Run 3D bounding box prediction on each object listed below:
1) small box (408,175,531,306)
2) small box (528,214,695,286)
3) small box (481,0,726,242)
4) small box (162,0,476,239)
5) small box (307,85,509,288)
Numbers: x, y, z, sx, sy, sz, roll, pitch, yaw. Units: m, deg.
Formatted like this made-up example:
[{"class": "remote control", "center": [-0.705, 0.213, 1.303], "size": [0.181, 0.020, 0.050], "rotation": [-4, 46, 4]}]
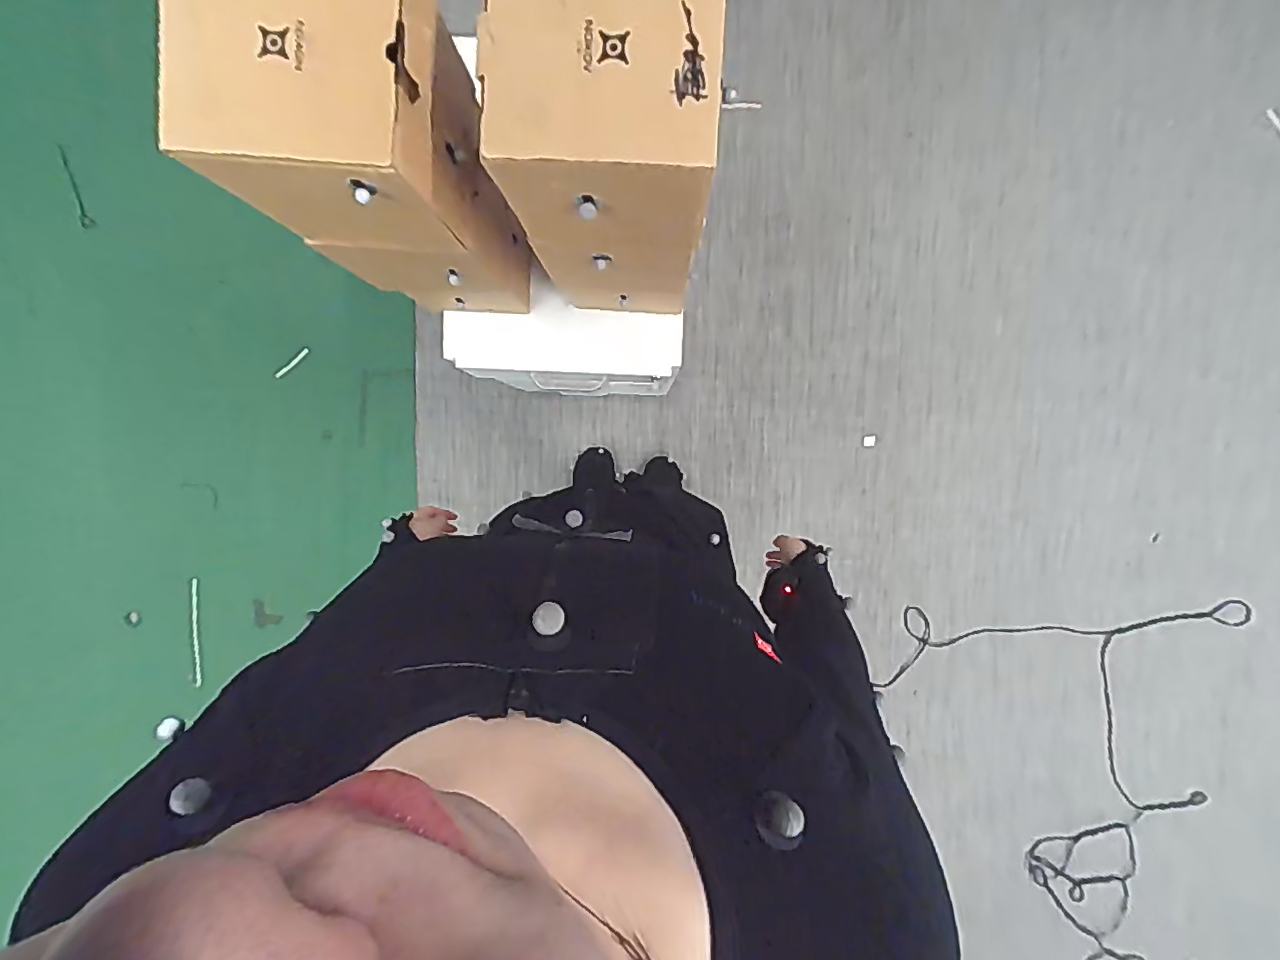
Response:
[{"class": "small box", "center": [-0.256, -0.362, 0.794], "size": [0.168, 0.176, 0.179], "rotation": [2, 95, -2]}, {"class": "small box", "center": [-0.021, -0.334, 0.630], "size": [0.179, 0.176, 0.168], "rotation": [4, 95, 1]}, {"class": "small box", "center": [-0.022, -0.319, 0.467], "size": [0.179, 0.176, 0.168], "rotation": [3, 95, 3]}, {"class": "small box", "center": [-0.257, -0.326, 0.471], "size": [0.179, 0.176, 0.168], "rotation": [4, 94, -1]}, {"class": "small box", "center": [-0.256, -0.333, 0.634], "size": [0.179, 0.176, 0.168], "rotation": [1, 94, 0]}]
